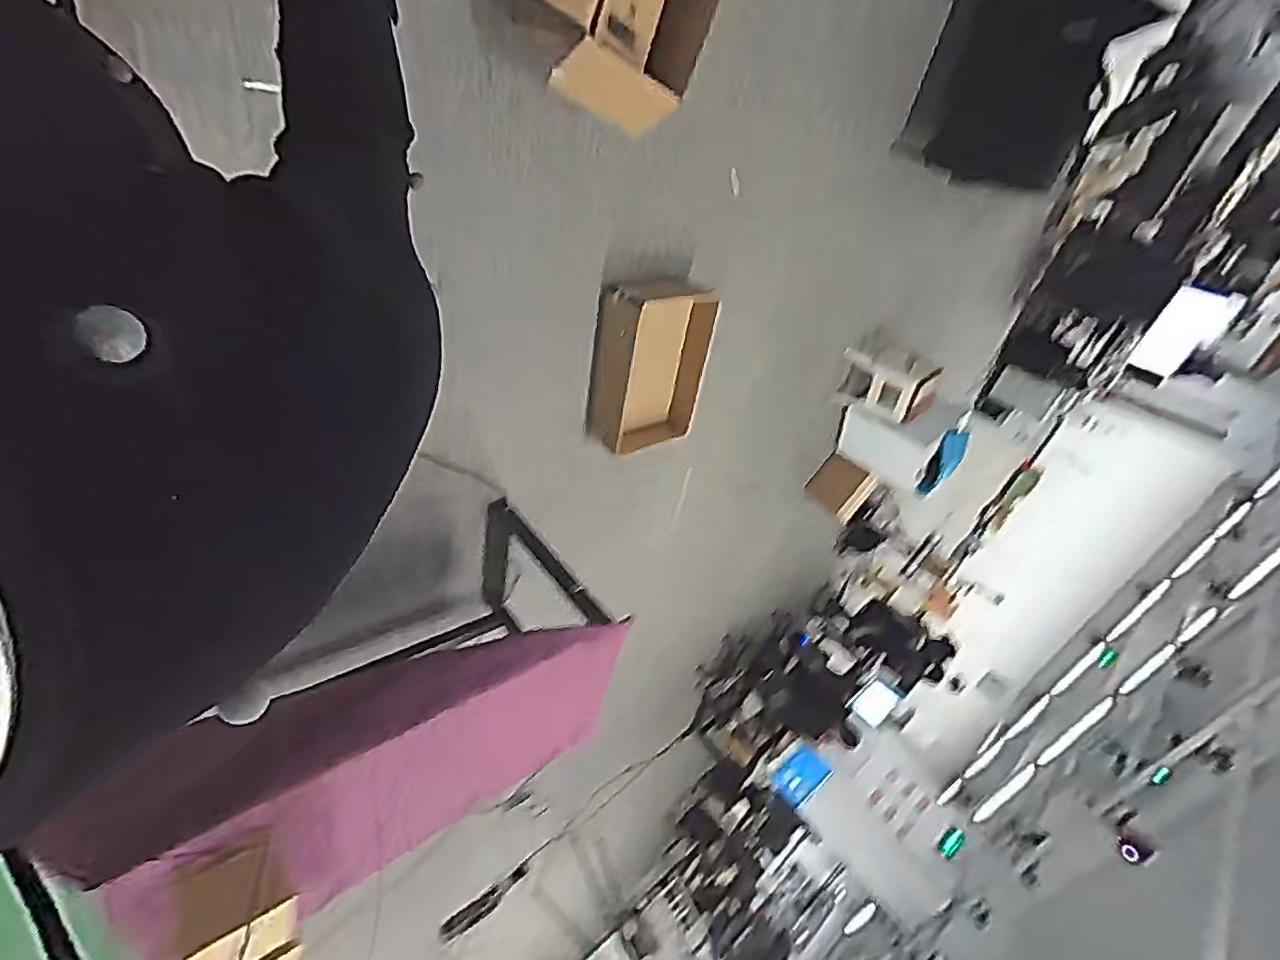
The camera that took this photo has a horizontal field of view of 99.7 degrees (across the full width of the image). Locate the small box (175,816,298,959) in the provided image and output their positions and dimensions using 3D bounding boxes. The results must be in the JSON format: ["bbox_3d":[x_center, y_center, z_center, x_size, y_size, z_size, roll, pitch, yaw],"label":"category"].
[{"bbox_3d":[-0.798,0.818,1.071,0.168,0.176,0.179,-10,130,-45],"label":"small box"}]

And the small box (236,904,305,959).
[{"bbox_3d":[-0.854,1.001,1.188,0.168,0.176,0.179,-13,132,-43],"label":"small box"}]
